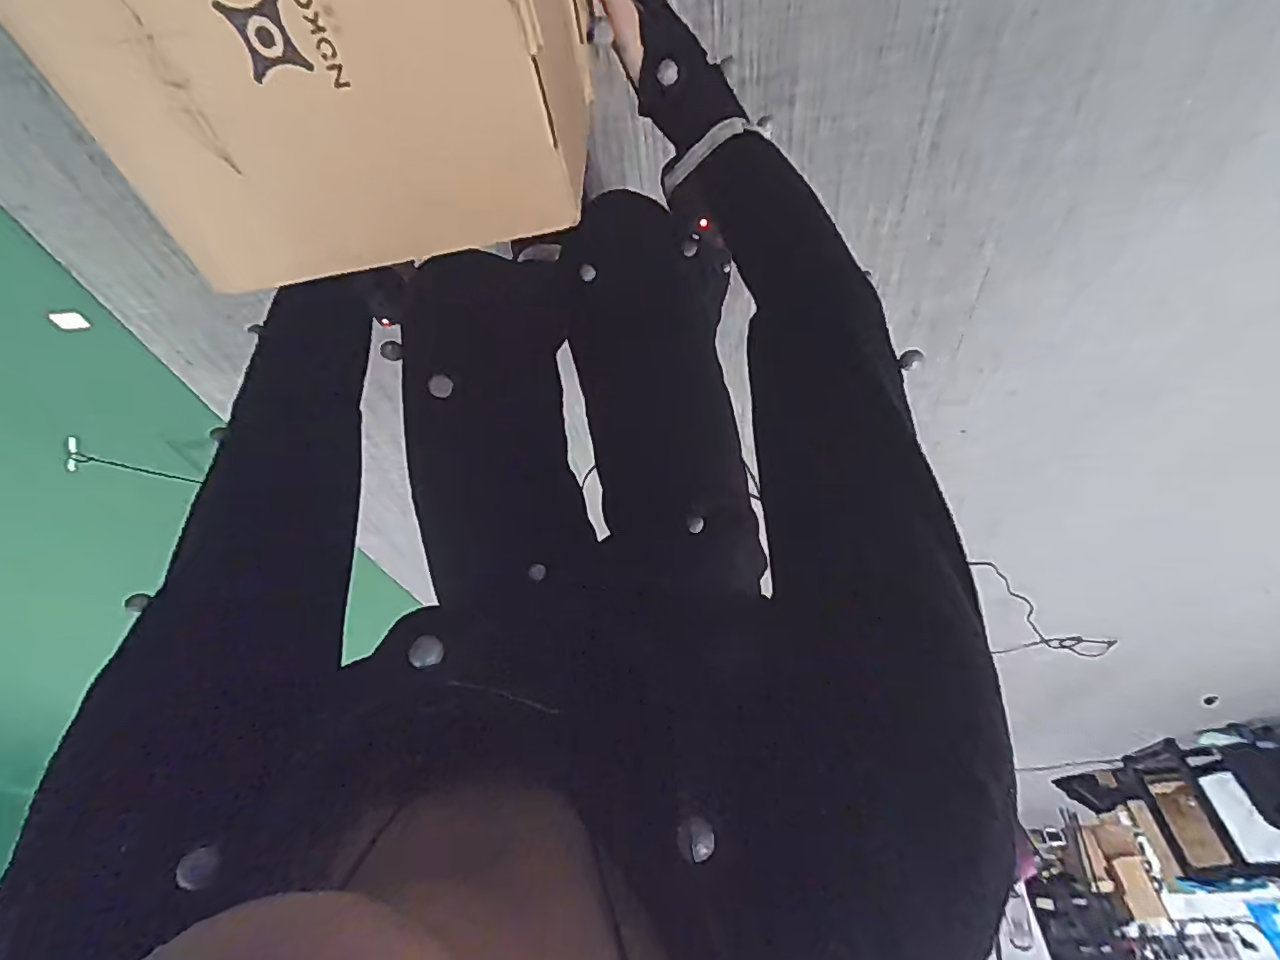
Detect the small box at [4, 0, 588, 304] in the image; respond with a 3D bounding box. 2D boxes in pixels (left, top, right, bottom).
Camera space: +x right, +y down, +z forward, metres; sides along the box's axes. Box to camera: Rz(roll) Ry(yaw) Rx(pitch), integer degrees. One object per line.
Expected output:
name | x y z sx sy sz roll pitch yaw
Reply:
small box | -0.124 -0.208 0.250 0.179 0.176 0.168 -7 136 6
